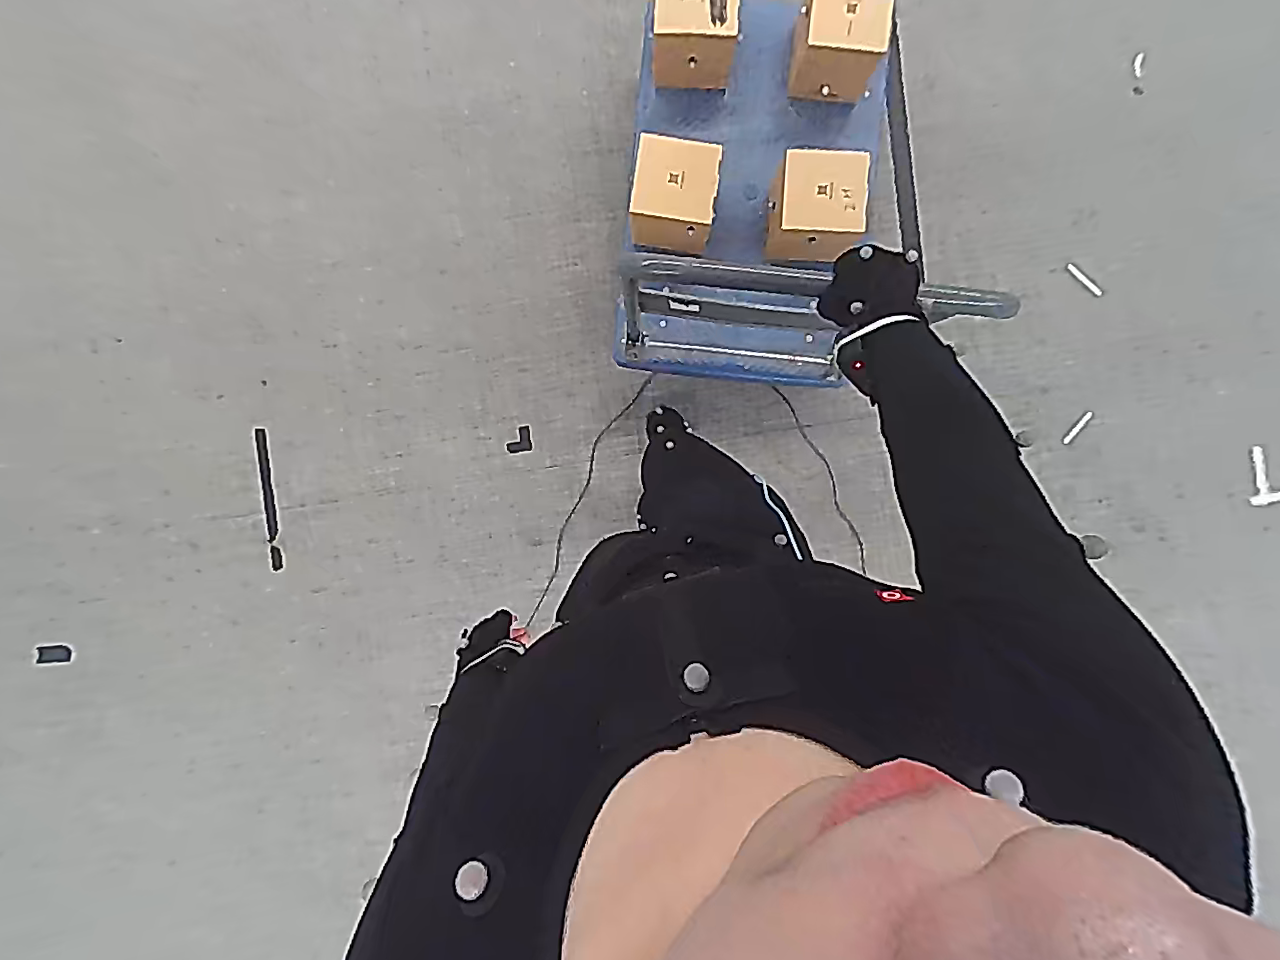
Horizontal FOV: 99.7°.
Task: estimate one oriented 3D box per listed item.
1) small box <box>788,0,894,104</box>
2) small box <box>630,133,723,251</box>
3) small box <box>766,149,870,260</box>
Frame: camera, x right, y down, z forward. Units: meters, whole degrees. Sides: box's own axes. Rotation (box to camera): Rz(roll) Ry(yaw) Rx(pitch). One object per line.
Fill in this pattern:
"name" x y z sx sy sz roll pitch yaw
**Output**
"small box" 0.433 -0.971 1.180 0.168 0.176 0.179 7 94 0
"small box" 0.075 -0.628 1.199 0.179 0.176 0.168 8 92 -1
"small box" 0.384 -0.600 1.197 0.179 0.176 0.168 3 92 0
